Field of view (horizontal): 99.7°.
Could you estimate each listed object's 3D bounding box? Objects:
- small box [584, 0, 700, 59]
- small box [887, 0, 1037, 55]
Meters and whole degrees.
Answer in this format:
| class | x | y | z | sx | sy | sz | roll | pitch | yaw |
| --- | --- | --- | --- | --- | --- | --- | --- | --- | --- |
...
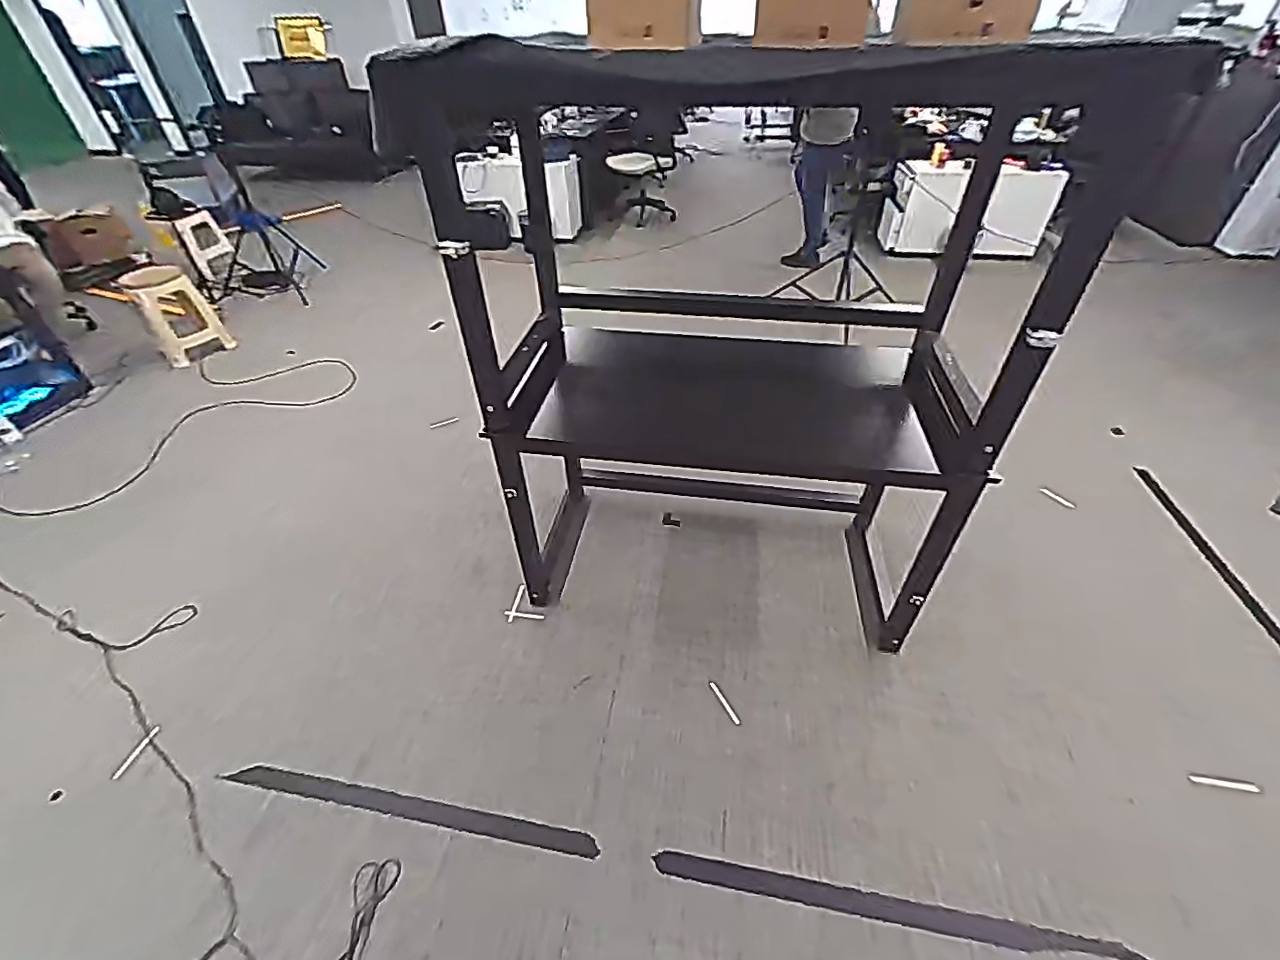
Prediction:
| class | x | y | z | sx | sy | sz | roll | pitch | yaw |
| --- | --- | --- | --- | --- | --- | --- | --- | --- | --- |
| small box | 0.008 | -0.794 | 0.878 | 0.168 | 0.176 | 0.179 | 7 | 40 | 10 |
| small box | 0.479 | -0.737 | 0.795 | 0.168 | 0.176 | 0.179 | 5 | 40 | 10 |
